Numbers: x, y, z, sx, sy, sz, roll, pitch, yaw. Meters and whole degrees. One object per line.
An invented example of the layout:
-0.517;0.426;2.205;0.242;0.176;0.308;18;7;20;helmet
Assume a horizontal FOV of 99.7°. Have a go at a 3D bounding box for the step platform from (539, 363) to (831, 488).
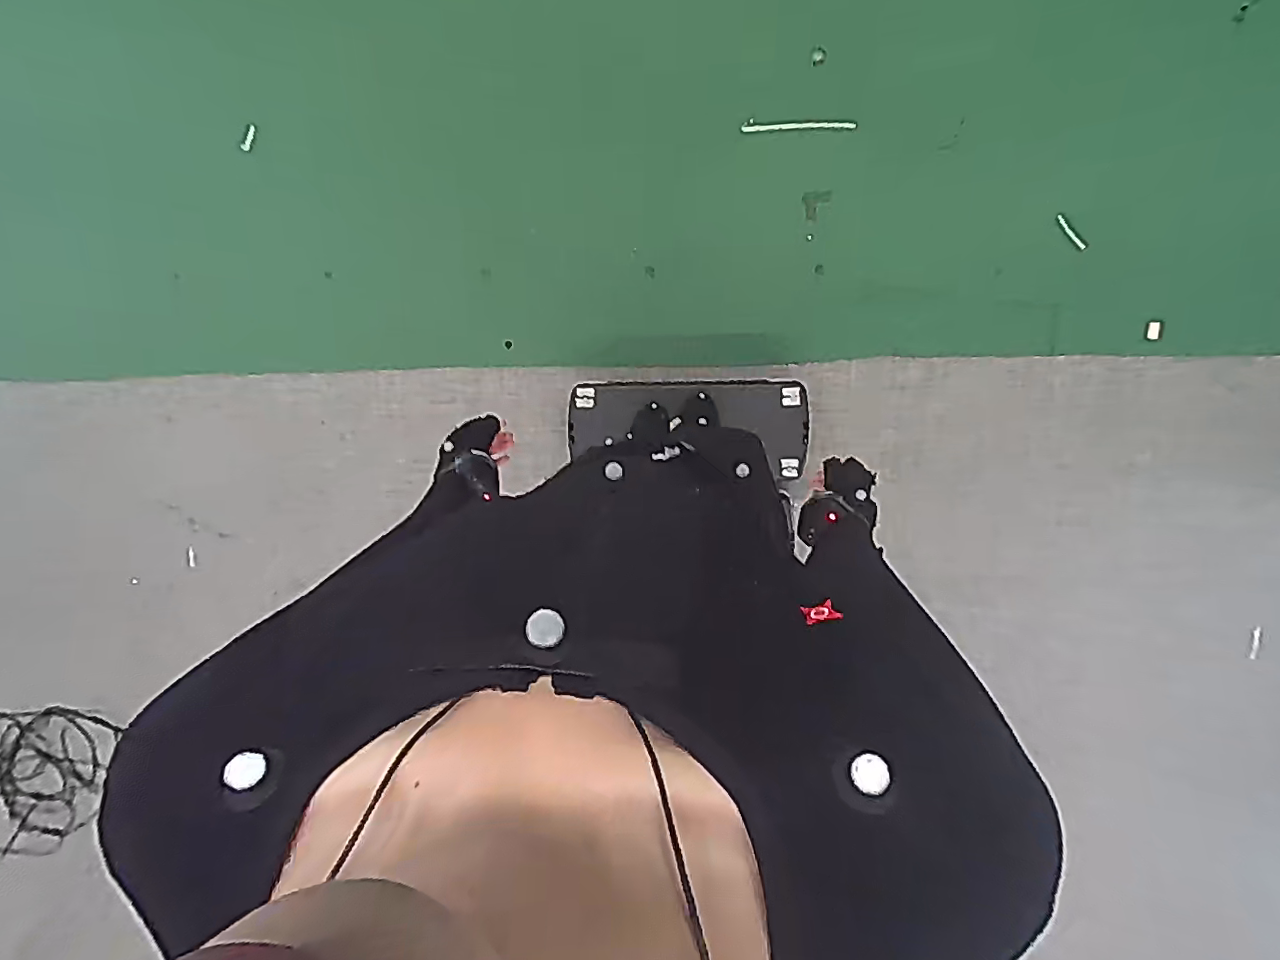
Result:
0.105;-0.139;1.361;0.684;0.204;0.286;-1;100;4;step platform
